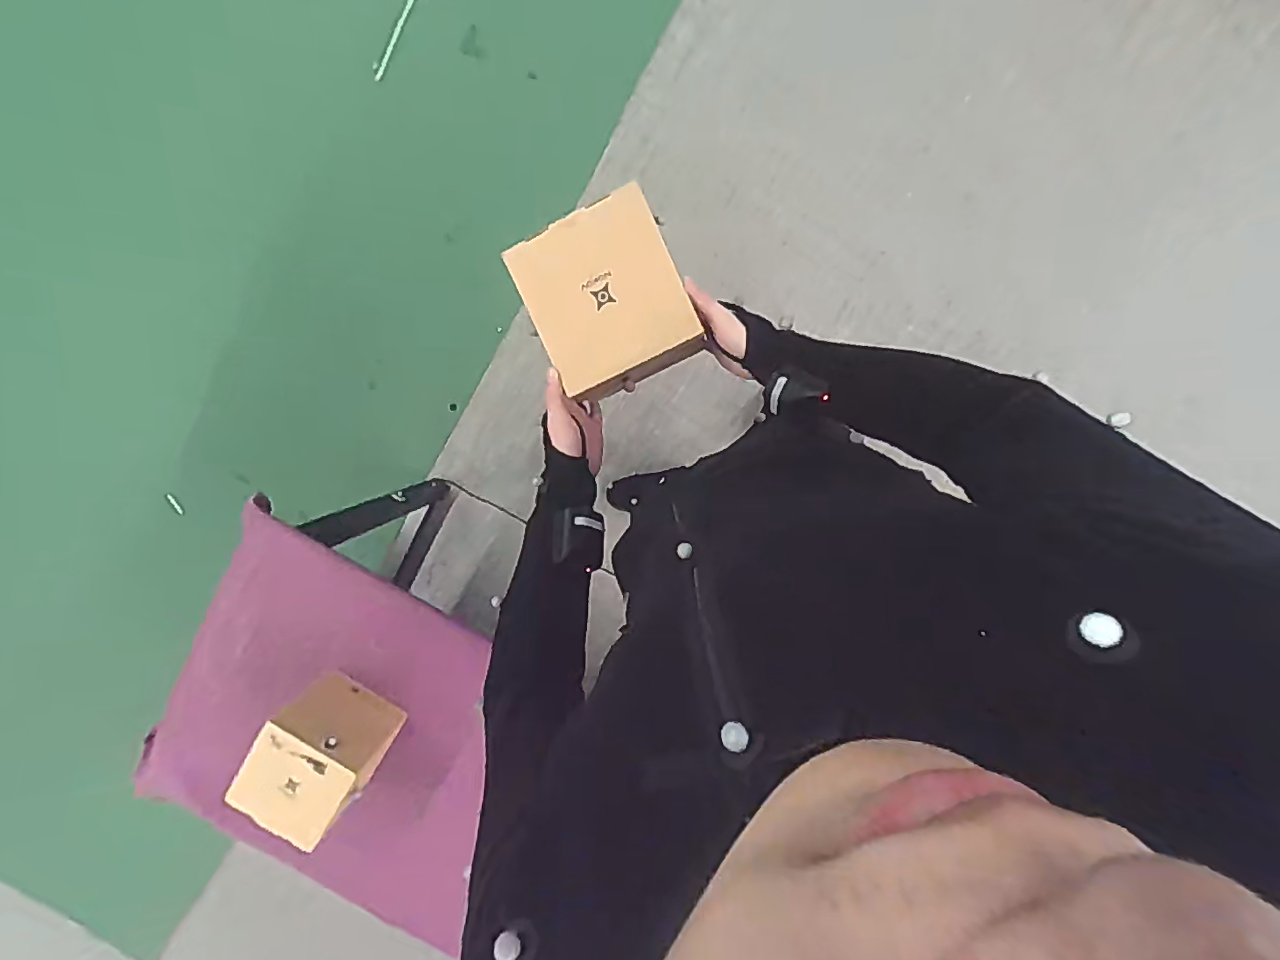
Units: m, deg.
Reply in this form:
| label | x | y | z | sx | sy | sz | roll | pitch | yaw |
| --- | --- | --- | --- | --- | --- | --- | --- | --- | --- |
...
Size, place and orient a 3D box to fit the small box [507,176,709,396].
| label | x | y | z | sx | sy | sz | roll | pitch | yaw |
| --- | --- | --- | --- | --- | --- | --- | --- | --- | --- |
| small box | -0.024 | -0.211 | 0.643 | 0.168 | 0.176 | 0.179 | -24 | 94 | 8 |

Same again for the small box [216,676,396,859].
| label | x | y | z | sx | sy | sz | roll | pitch | yaw |
| --- | --- | --- | --- | --- | --- | --- | --- | --- | --- |
| small box | -0.551 | 0.475 | 0.916 | 0.168 | 0.176 | 0.179 | 32 | 100 | -2 |
